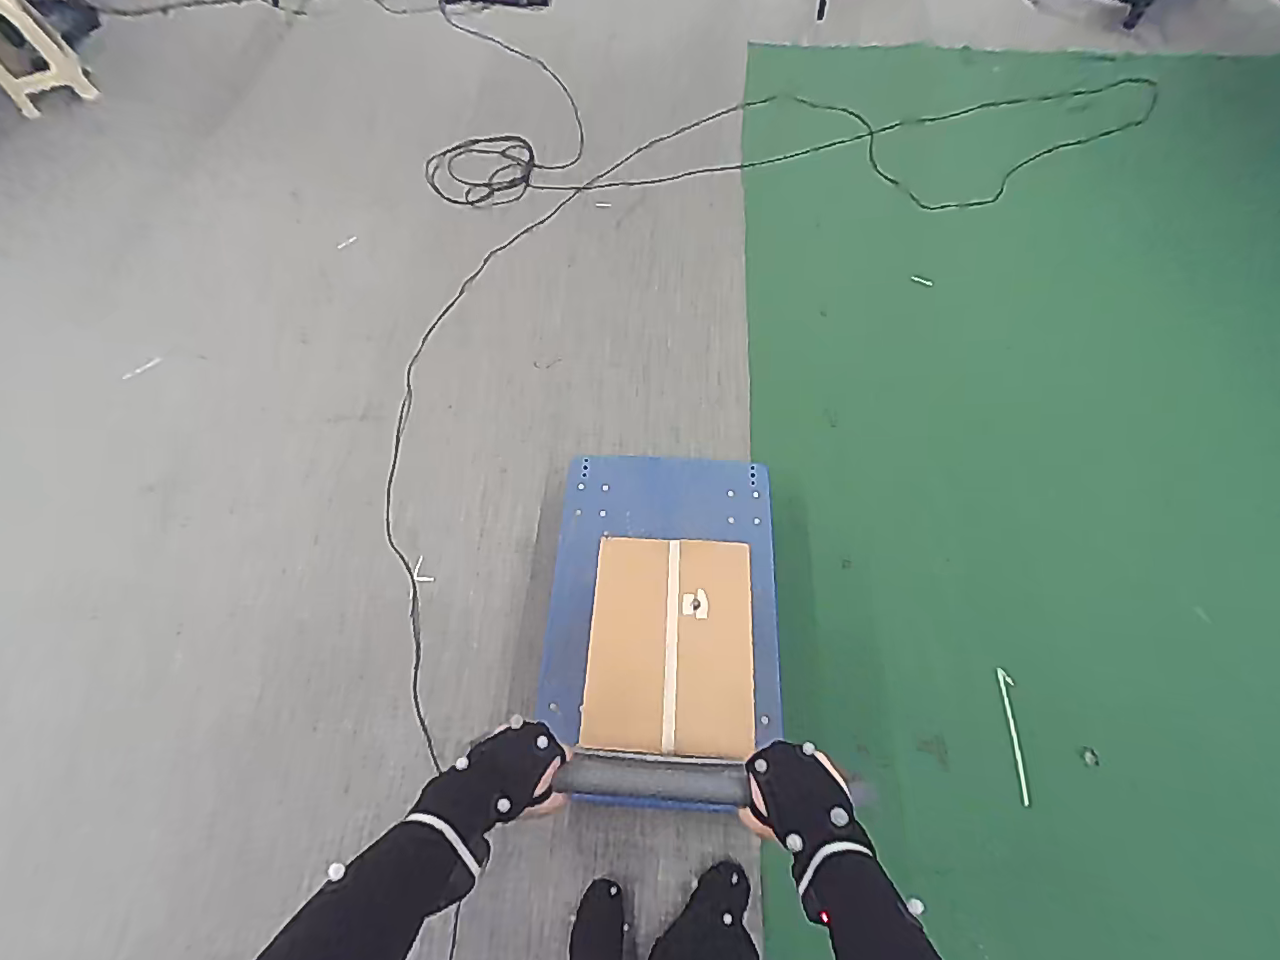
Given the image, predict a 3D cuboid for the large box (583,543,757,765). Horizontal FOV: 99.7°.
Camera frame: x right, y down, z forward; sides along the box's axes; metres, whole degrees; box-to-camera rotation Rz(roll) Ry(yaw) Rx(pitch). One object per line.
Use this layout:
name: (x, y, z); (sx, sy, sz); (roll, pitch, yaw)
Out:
large box: (0.065, 0.385, 1.174); (0.320, 0.320, 0.408); (3, 61, 2)
